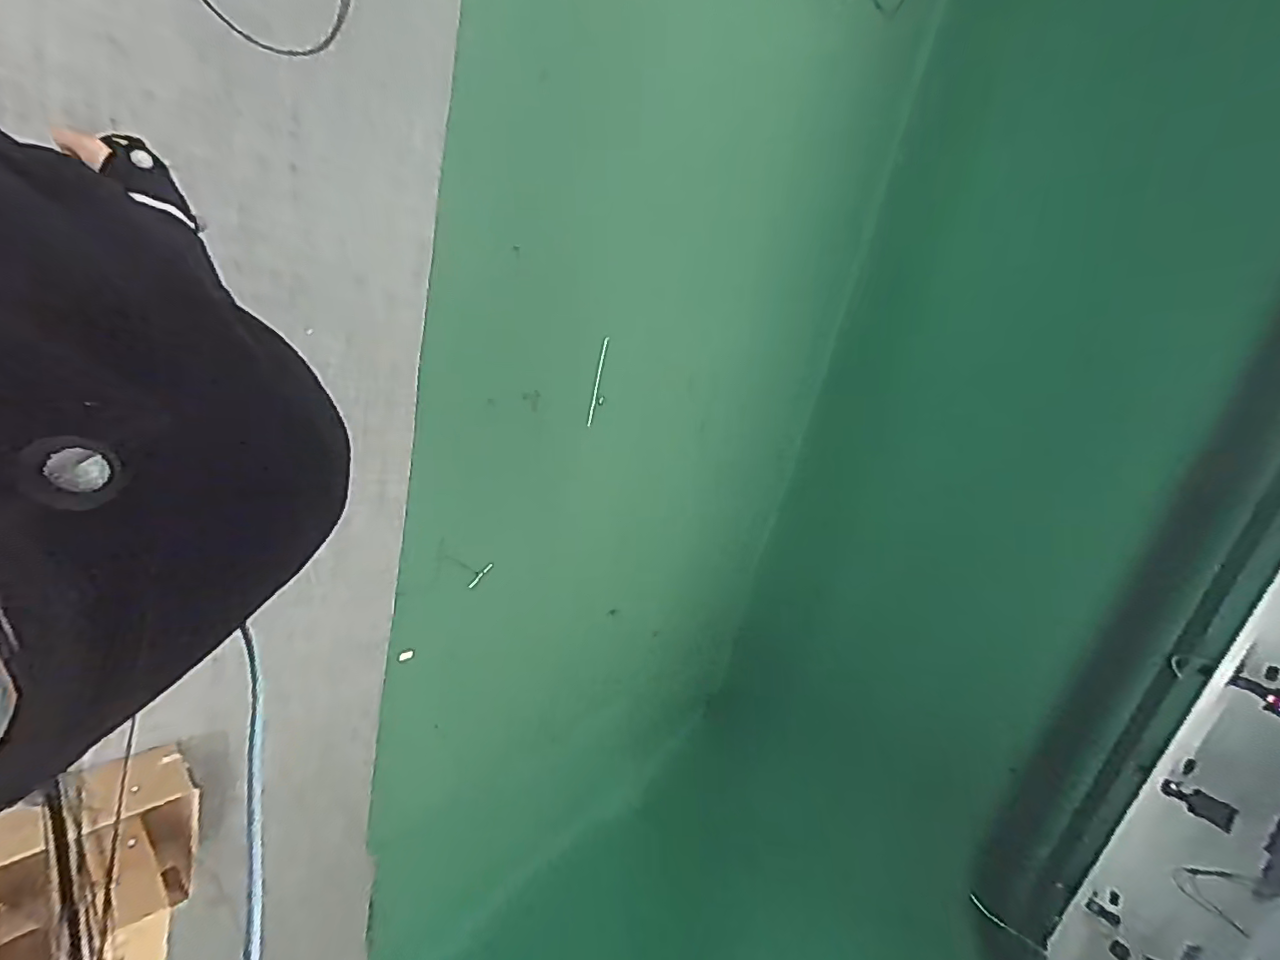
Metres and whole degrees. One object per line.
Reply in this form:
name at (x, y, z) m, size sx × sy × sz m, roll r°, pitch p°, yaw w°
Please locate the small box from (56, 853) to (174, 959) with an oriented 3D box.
small box at (-1.173, 0.995, 1.208) m, size 0.168 × 0.176 × 0.179 m, roll -2°, pitch 111°, yaw -53°
